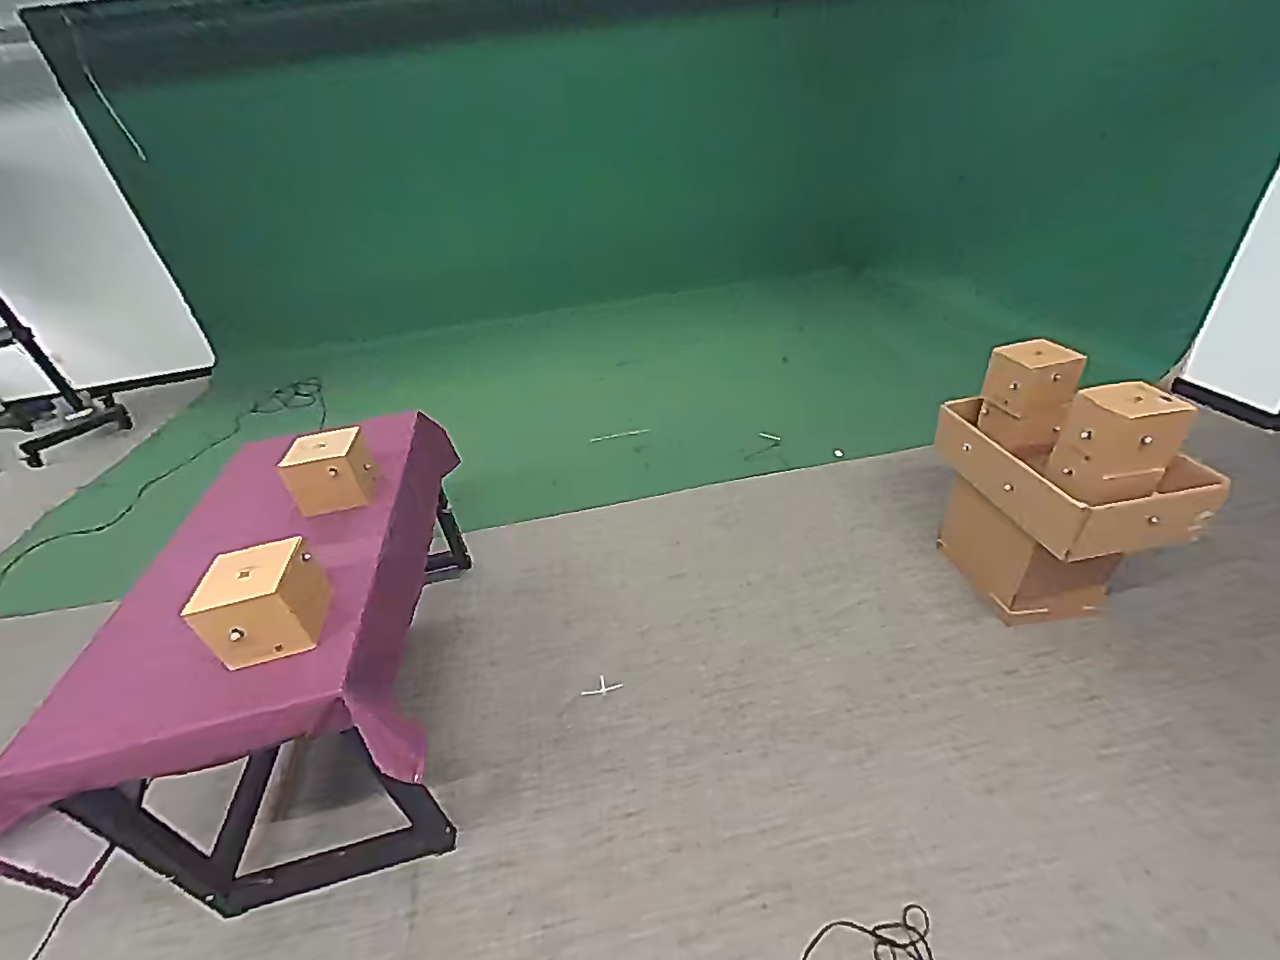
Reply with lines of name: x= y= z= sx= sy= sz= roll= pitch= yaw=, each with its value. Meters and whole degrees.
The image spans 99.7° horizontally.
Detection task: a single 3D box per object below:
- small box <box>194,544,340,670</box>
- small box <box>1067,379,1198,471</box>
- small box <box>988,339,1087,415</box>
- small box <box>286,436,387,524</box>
small box: x=-0.750 y=0.266 z=1.113 sx=0.168 sy=0.176 sz=0.179 roll=-14 pitch=33 yaw=-7
small box: x=1.252 y=-0.140 z=1.395 sx=0.179 sy=0.176 sz=0.168 roll=-10 pitch=34 yaw=0
small box: x=1.212 y=-0.316 z=1.667 sx=0.179 sy=0.176 sz=0.168 roll=-12 pitch=34 yaw=-5
small box: x=-0.845 y=0.000 z=1.529 sx=0.179 sy=0.176 sz=0.168 roll=-12 pitch=33 yaw=-4
